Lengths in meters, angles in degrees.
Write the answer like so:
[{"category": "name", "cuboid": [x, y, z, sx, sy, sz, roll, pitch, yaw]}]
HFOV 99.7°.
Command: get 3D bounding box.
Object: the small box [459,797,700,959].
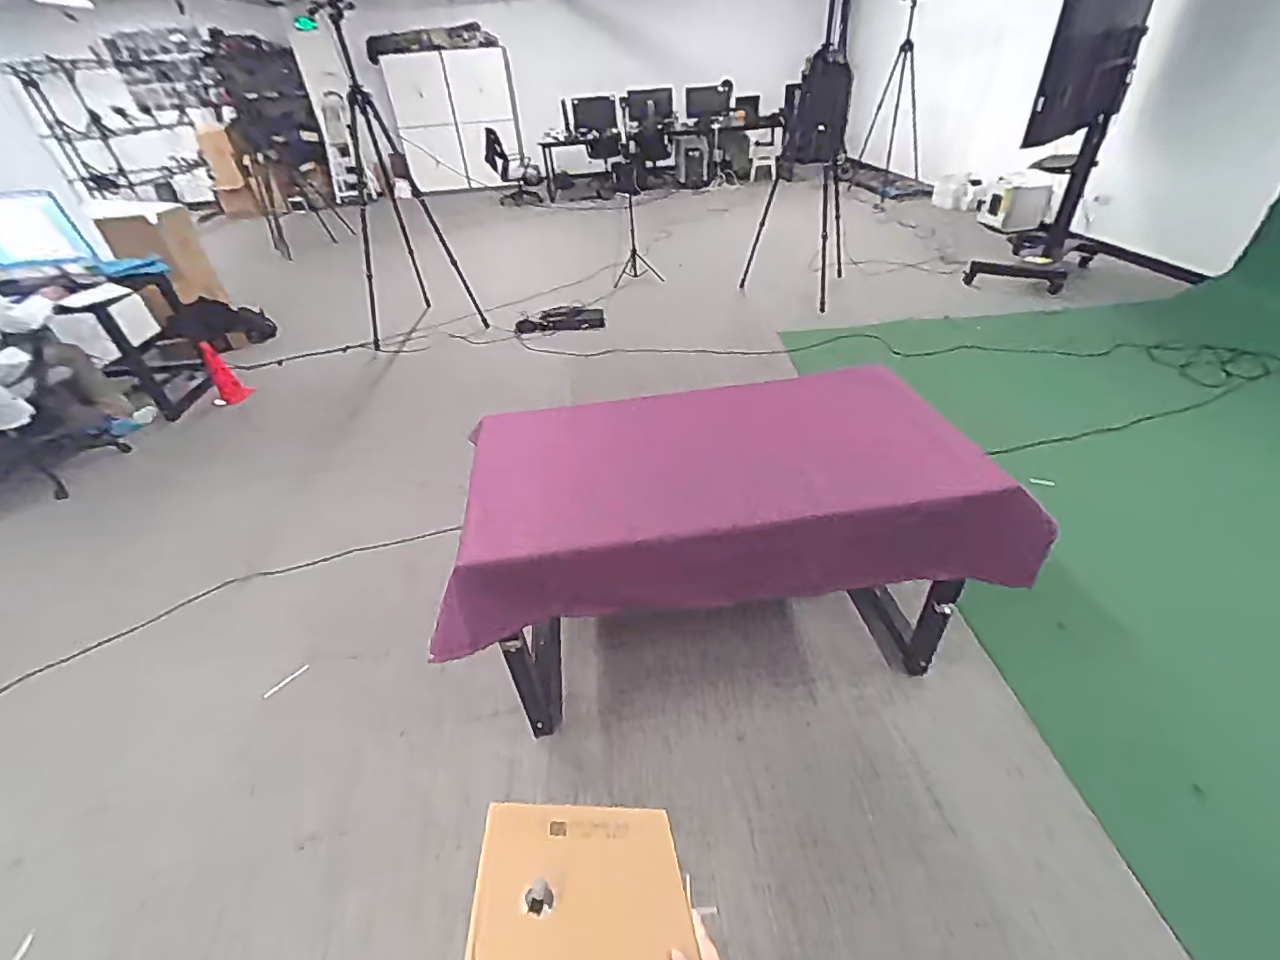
[{"category": "small box", "cuboid": [-0.062, 0.394, 0.442, 0.168, 0.179, 0.176, 10, 13, -10]}]
